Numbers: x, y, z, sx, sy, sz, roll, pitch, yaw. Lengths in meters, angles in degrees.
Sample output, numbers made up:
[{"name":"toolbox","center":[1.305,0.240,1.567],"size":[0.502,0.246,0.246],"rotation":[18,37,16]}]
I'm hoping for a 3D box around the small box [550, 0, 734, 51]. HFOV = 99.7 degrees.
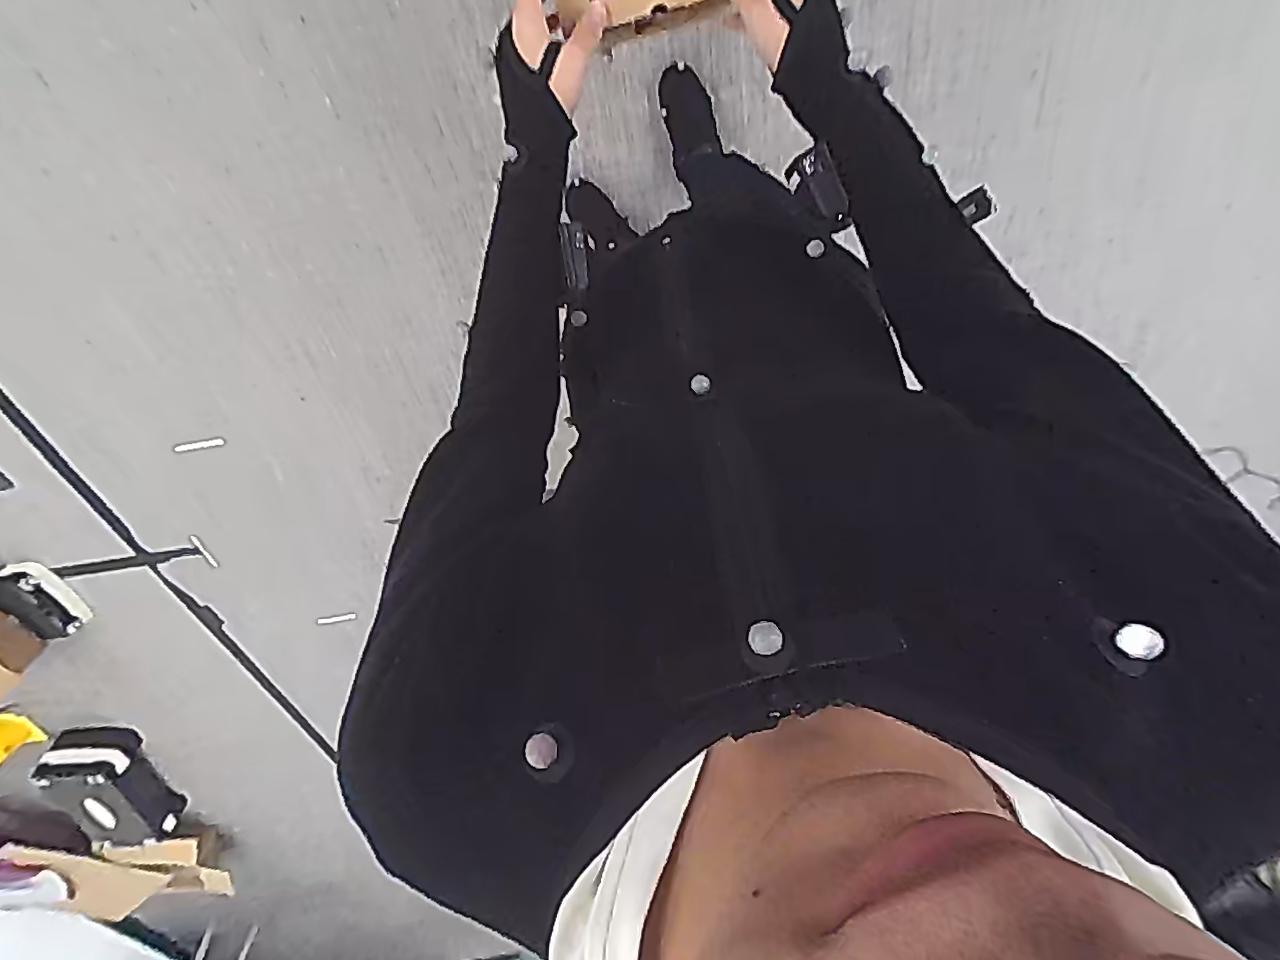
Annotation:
[{"name":"small box","center":[-0.008,-0.495,0.463],"size":[0.168,0.176,0.179],"rotation":[-12,124,5]}]
